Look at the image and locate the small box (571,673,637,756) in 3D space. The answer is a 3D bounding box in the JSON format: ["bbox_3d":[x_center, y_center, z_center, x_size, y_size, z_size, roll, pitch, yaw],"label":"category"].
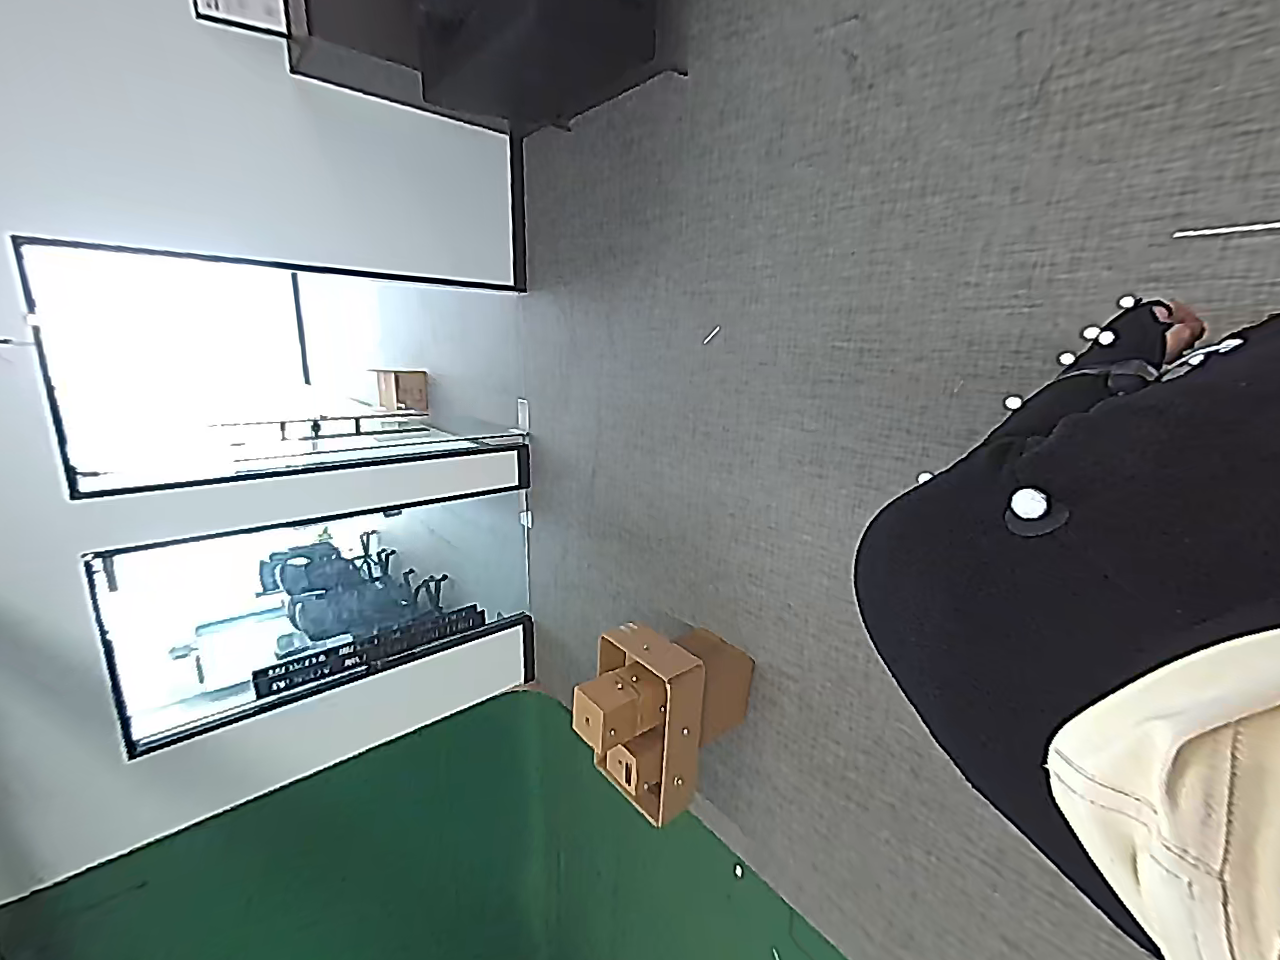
[{"bbox_3d":[-0.126,0.813,1.893,0.168,0.176,0.179,20,111,44],"label":"small box"}]
